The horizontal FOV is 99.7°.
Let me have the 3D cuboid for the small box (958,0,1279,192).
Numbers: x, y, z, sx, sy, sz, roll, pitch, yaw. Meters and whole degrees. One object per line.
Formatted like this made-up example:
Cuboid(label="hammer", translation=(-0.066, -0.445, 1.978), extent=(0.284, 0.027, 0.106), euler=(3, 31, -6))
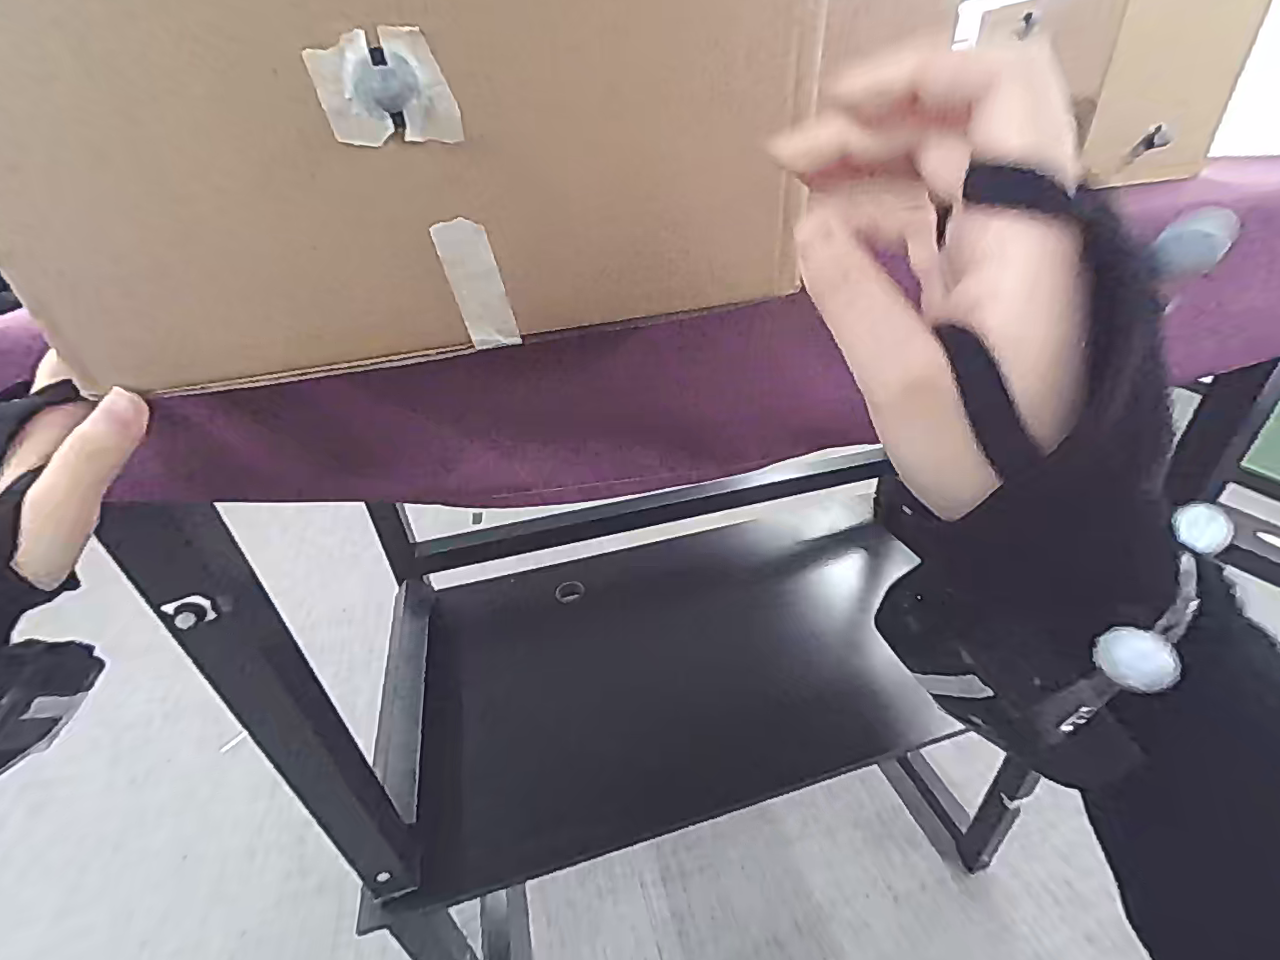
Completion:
Cuboid(label="small box", translation=(0.480, -0.411, 0.572), extent=(0.179, 0.176, 0.168), euler=(-11, 32, -11))
